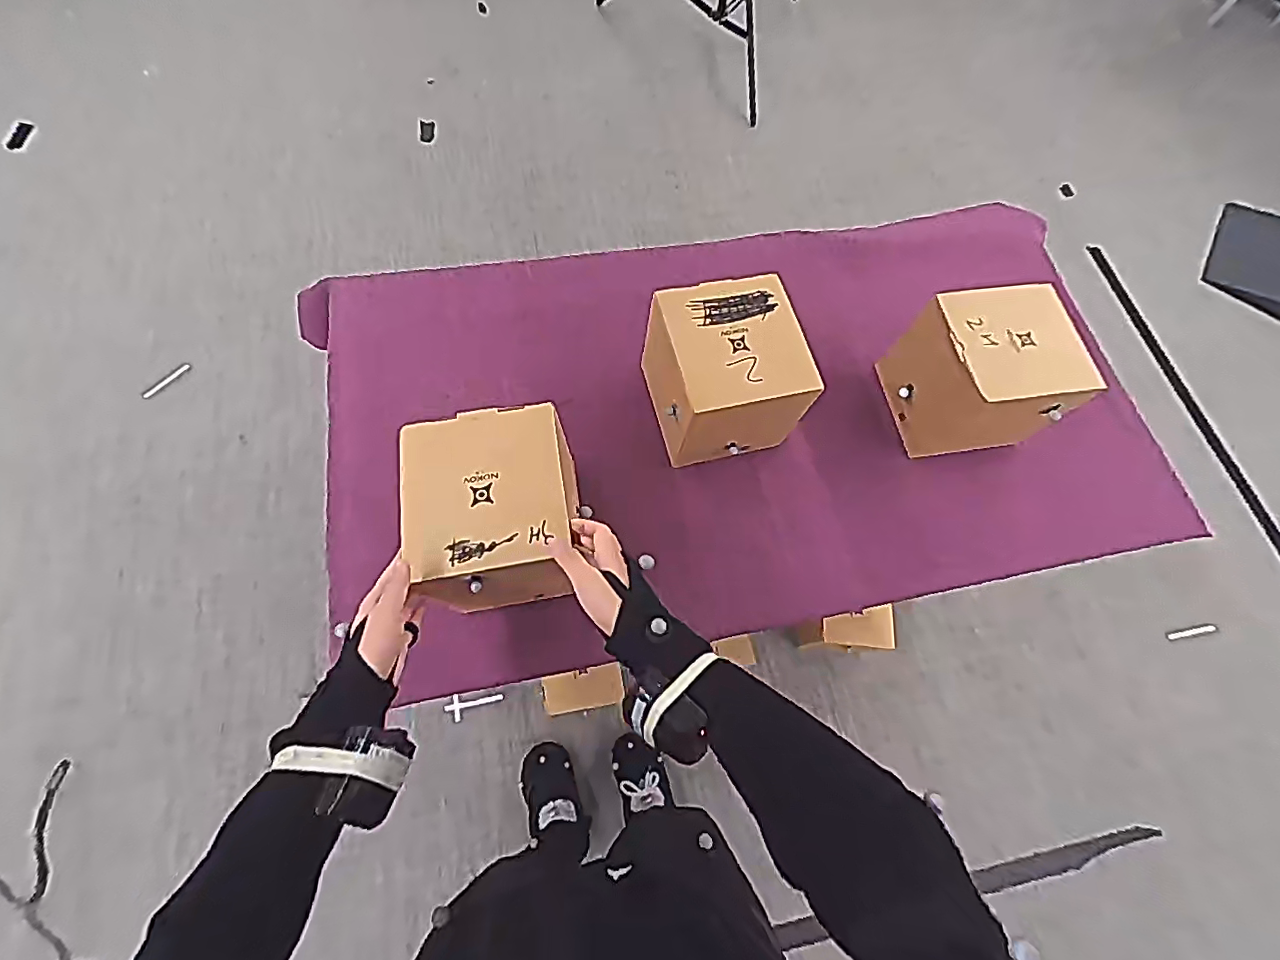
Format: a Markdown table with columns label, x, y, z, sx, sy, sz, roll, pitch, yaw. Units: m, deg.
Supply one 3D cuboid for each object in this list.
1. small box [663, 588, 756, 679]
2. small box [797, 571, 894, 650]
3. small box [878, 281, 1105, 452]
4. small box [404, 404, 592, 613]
| label | x | y | z | sx | sy | sz | roll | pitch | yaw |
| --- | --- | --- | --- | --- | --- | --- | --- | --- | --- |
| small box | 0.160 | 0.376 | 1.312 | 0.168 | 0.176 | 0.179 | -10 | 71 | -9 |
| small box | 0.510 | 0.333 | 1.361 | 0.179 | 0.176 | 0.168 | 6 | 69 | -1 |
| small box | 0.474 | -0.152 | 0.759 | 0.179 | 0.176 | 0.168 | -8 | 69 | -7 |
| small box | -0.153 | 0.040 | 0.618 | 0.168 | 0.176 | 0.179 | -10 | 67 | -3 |
